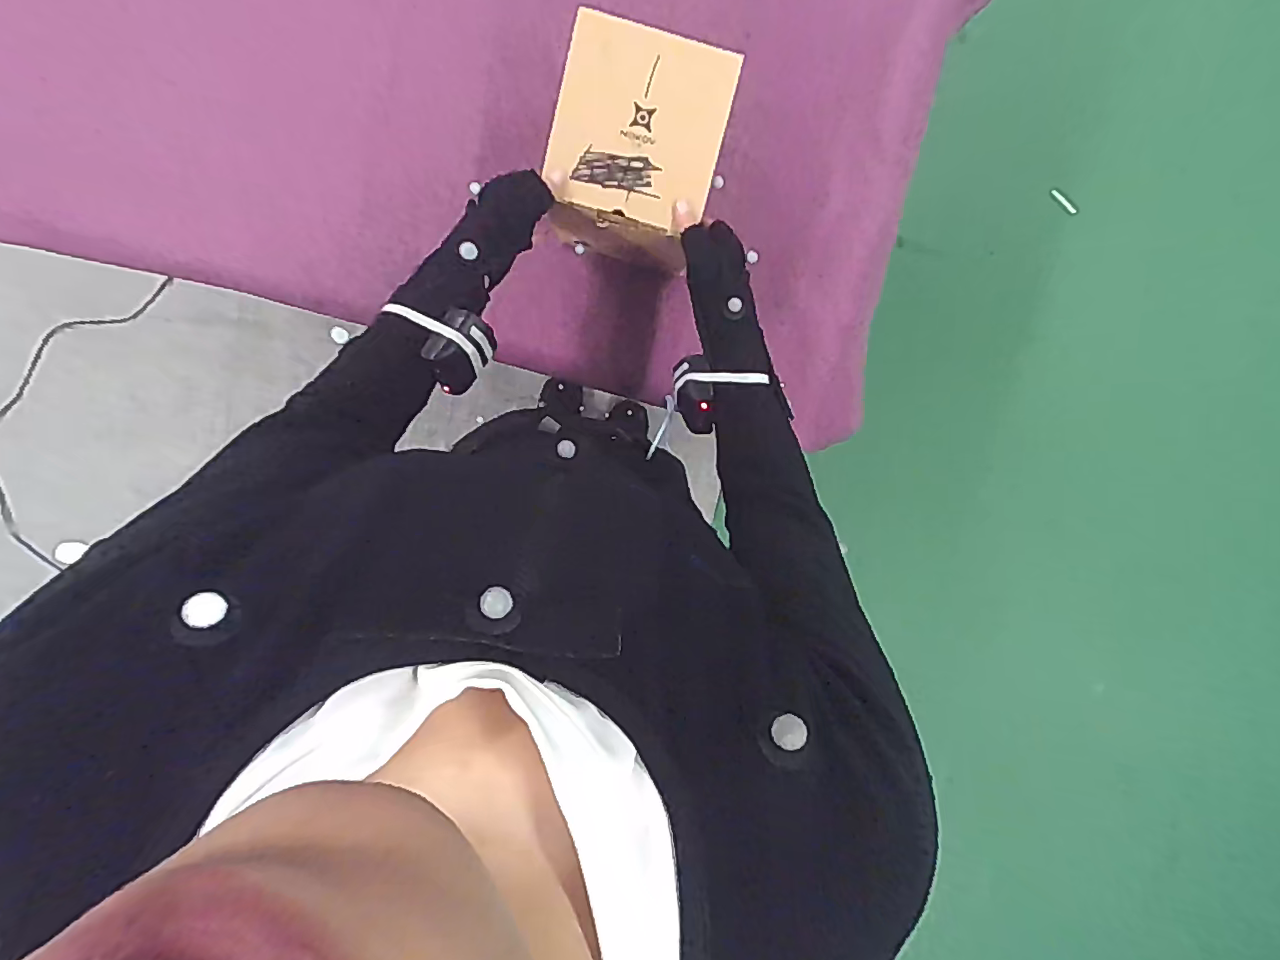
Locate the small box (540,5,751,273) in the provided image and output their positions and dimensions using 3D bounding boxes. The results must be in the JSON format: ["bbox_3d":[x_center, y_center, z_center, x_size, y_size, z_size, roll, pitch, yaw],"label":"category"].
[{"bbox_3d":[0.002,-0.351,0.601,0.168,0.176,0.179,17,99,-6],"label":"small box"}]
